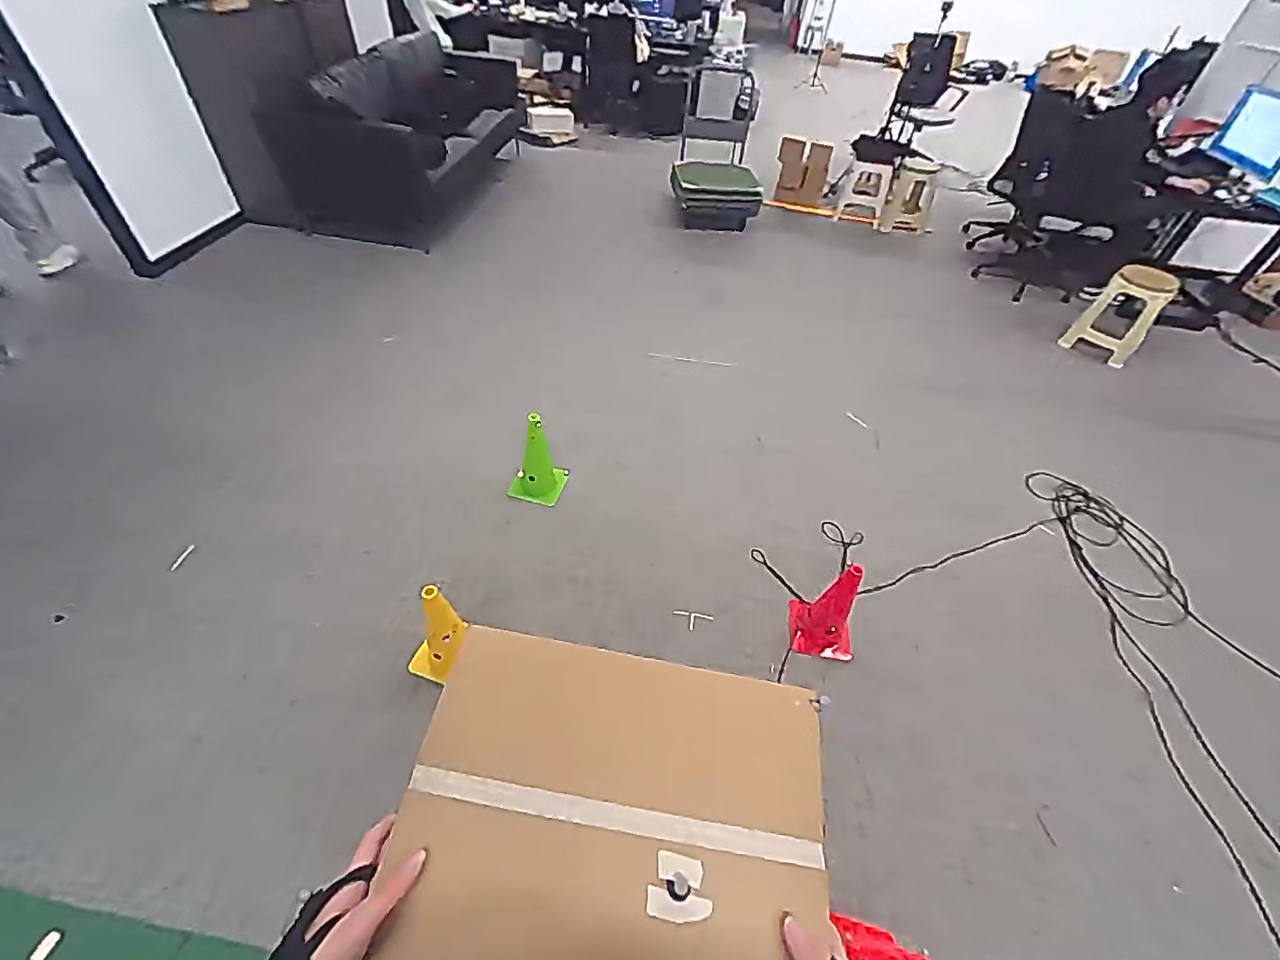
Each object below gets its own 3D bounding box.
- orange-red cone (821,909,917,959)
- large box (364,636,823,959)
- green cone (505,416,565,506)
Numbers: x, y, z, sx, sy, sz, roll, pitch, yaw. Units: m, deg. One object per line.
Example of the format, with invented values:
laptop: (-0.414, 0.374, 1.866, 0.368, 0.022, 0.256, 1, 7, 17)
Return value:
orange-red cone: (0.498, 1.009, 1.104, 0.199, 0.360, 0.198, 15, 48, 6)
large box: (-0.036, 0.419, 0.649, 0.408, 0.320, 0.320, 10, 54, 1)
green cone: (-0.411, -0.101, 2.058, 0.200, 0.368, 0.202, 13, 48, 7)
